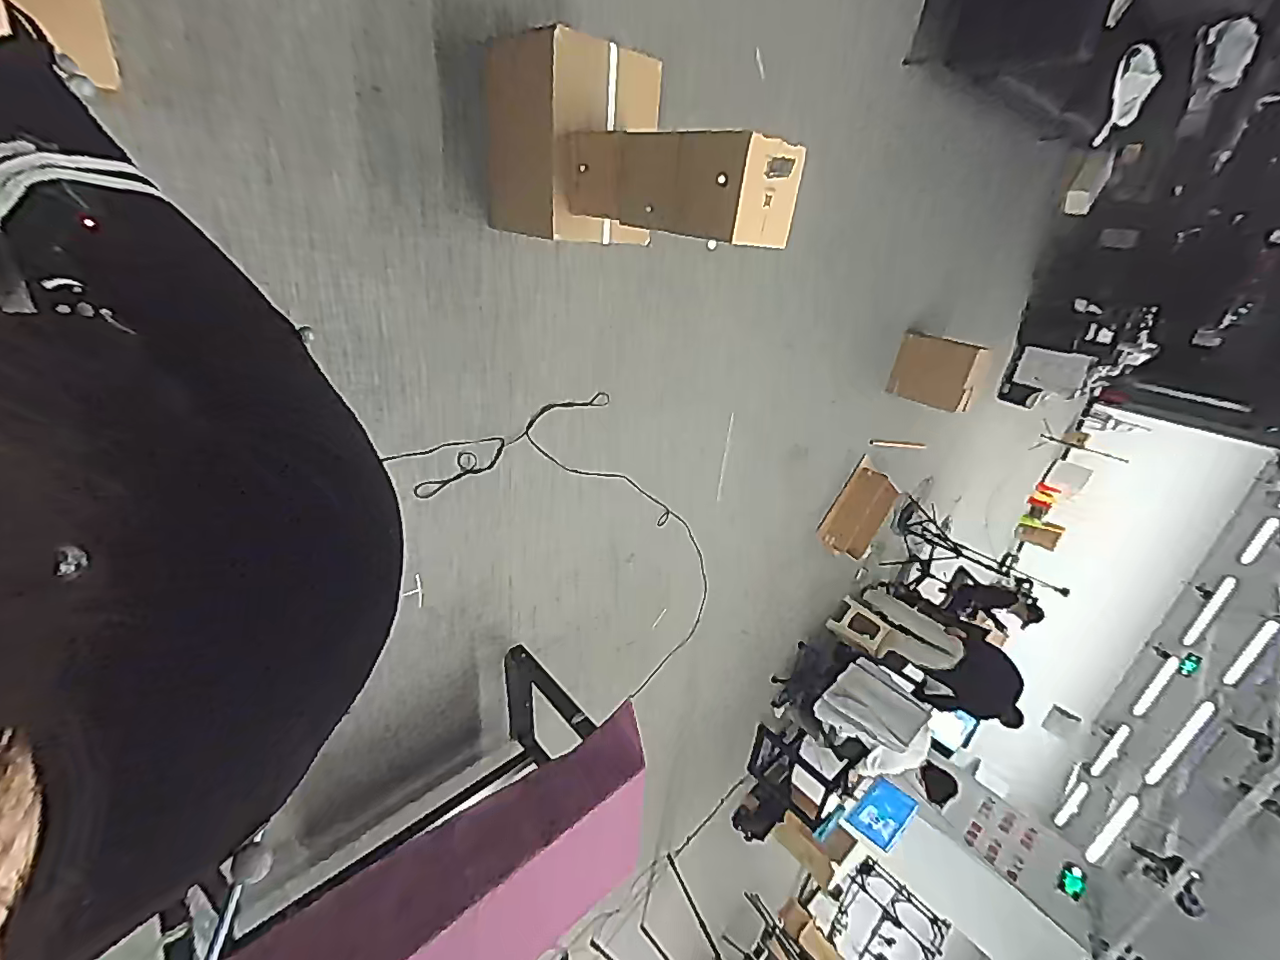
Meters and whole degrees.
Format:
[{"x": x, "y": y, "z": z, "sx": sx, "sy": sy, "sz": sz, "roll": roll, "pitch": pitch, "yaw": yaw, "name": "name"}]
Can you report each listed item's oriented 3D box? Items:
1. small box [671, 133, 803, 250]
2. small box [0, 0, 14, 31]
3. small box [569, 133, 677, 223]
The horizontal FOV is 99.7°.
[{"x": 0.178, "y": -0.551, "z": 1.038, "sx": 0.168, "sy": 0.176, "sz": 0.179, "roll": -16, "pitch": 126, "yaw": -39, "name": "small box"}, {"x": -0.780, "y": -0.575, "z": 0.537, "sx": 0.179, "sy": 0.176, "sz": 0.168, "roll": -18, "pitch": 124, "yaw": -37, "name": "small box"}, {"x": -0.042, "y": -0.691, "z": 1.239, "sx": 0.179, "sy": 0.176, "sz": 0.168, "roll": -19, "pitch": 126, "yaw": -37, "name": "small box"}]
